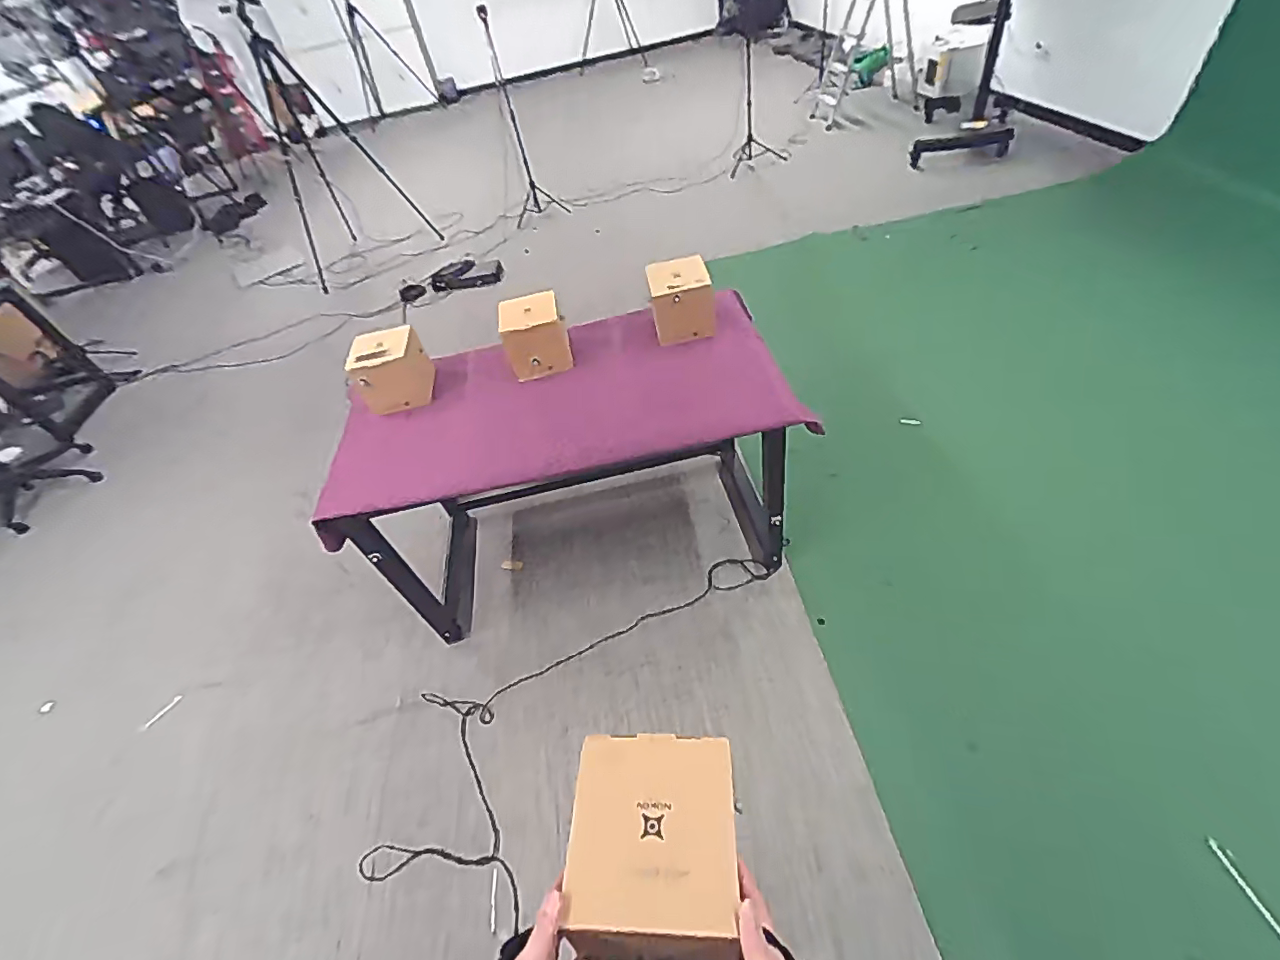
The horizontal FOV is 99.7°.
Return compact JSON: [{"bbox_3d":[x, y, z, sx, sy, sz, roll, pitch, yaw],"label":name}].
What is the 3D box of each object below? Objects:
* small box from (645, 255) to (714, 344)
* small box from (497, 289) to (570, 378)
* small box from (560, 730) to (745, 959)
[{"bbox_3d":[0.115,-0.517,1.554,0.168,0.176,0.179,-12,47,3],"label":"small box"},{"bbox_3d":[-0.304,-0.420,1.560,0.168,0.176,0.179,-13,47,0],"label":"small box"},{"bbox_3d":[0.020,0.396,0.582,0.168,0.176,0.179,-1,40,6],"label":"small box"}]
